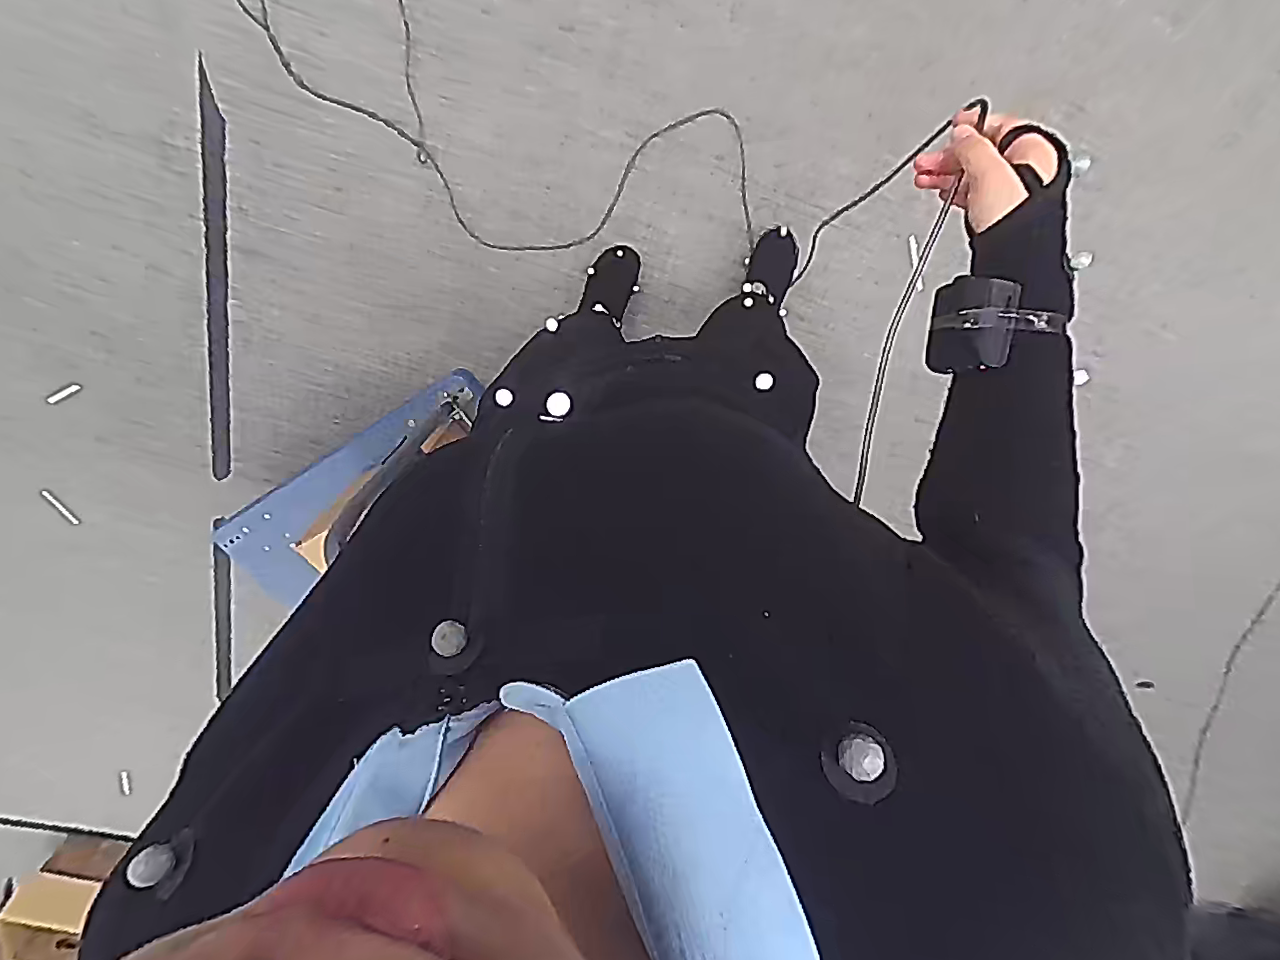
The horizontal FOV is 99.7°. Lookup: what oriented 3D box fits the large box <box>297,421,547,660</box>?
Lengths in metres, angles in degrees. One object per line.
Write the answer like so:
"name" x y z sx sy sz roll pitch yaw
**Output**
"large box" -0.475 0.138 1.283 0.320 0.320 0.408 -29 114 12
